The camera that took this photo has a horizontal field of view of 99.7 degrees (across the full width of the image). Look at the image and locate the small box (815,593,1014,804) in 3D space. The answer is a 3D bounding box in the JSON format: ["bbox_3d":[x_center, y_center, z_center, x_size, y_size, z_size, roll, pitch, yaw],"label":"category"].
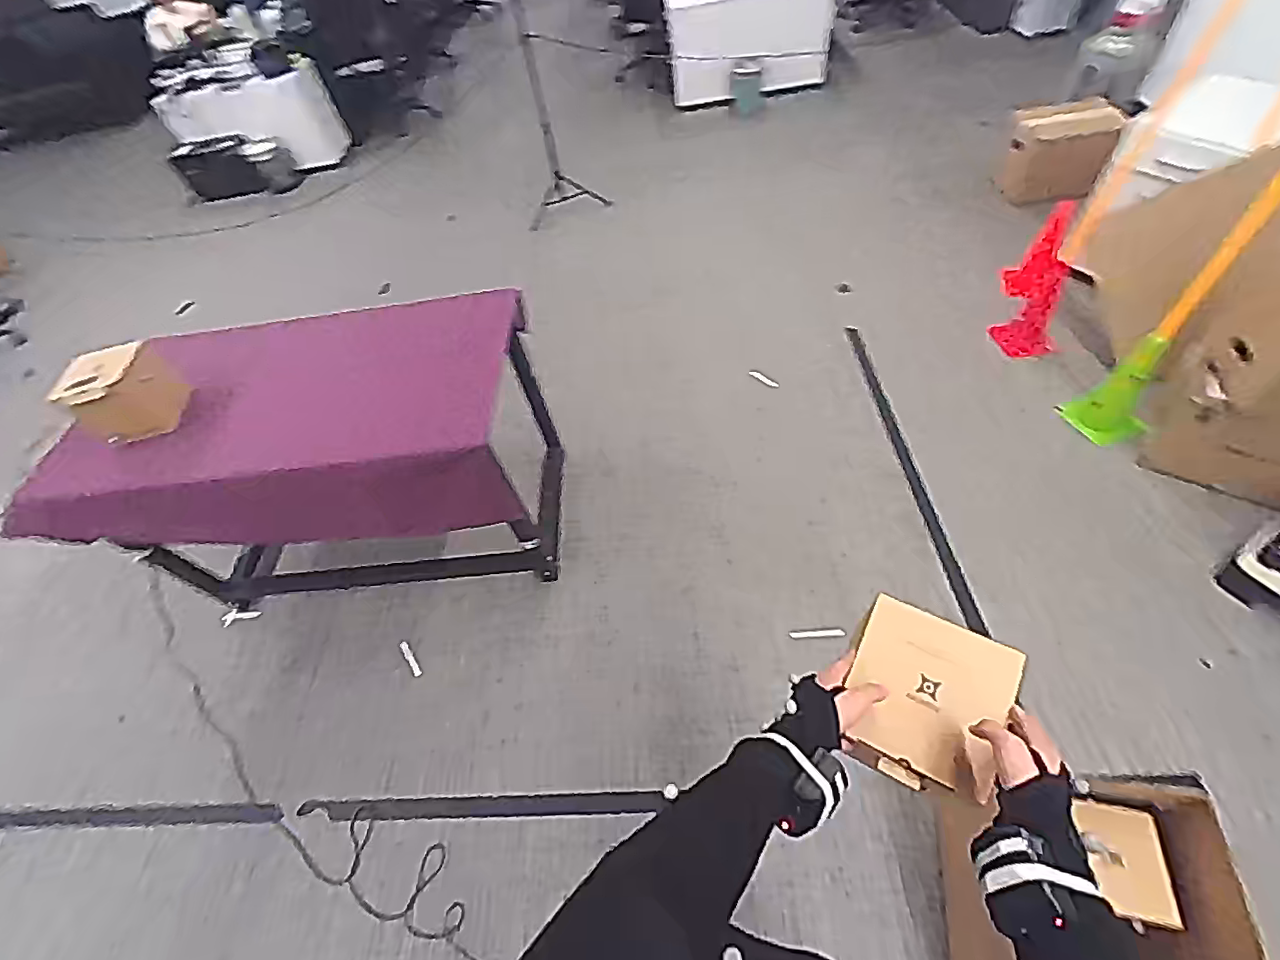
[{"bbox_3d":[0.331,0.276,0.683,0.168,0.176,0.179,22,67,22],"label":"small box"}]

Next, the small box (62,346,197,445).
[{"bbox_3d":[-1.299,-0.210,1.395,0.168,0.176,0.179,-15,52,-2],"label":"small box"}]
